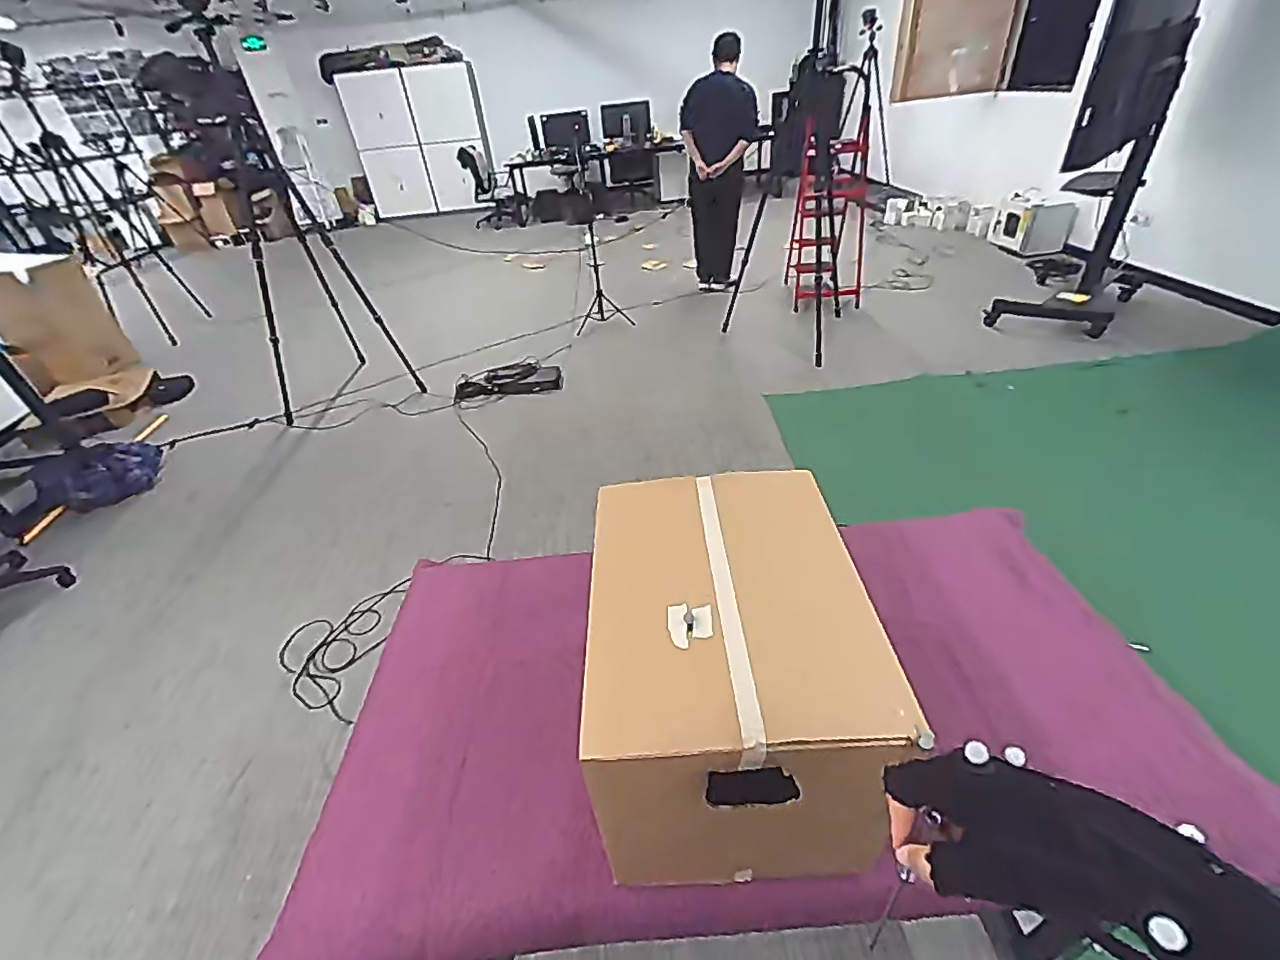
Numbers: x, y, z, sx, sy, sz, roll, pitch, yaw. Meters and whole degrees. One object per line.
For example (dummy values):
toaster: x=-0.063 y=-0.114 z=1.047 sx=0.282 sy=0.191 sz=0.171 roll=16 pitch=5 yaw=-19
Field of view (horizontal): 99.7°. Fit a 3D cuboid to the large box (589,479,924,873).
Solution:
large box: x=0.109 y=0.244 z=0.736 sx=0.320 sy=0.320 sz=0.408 roll=-4 pitch=37 yaw=2
